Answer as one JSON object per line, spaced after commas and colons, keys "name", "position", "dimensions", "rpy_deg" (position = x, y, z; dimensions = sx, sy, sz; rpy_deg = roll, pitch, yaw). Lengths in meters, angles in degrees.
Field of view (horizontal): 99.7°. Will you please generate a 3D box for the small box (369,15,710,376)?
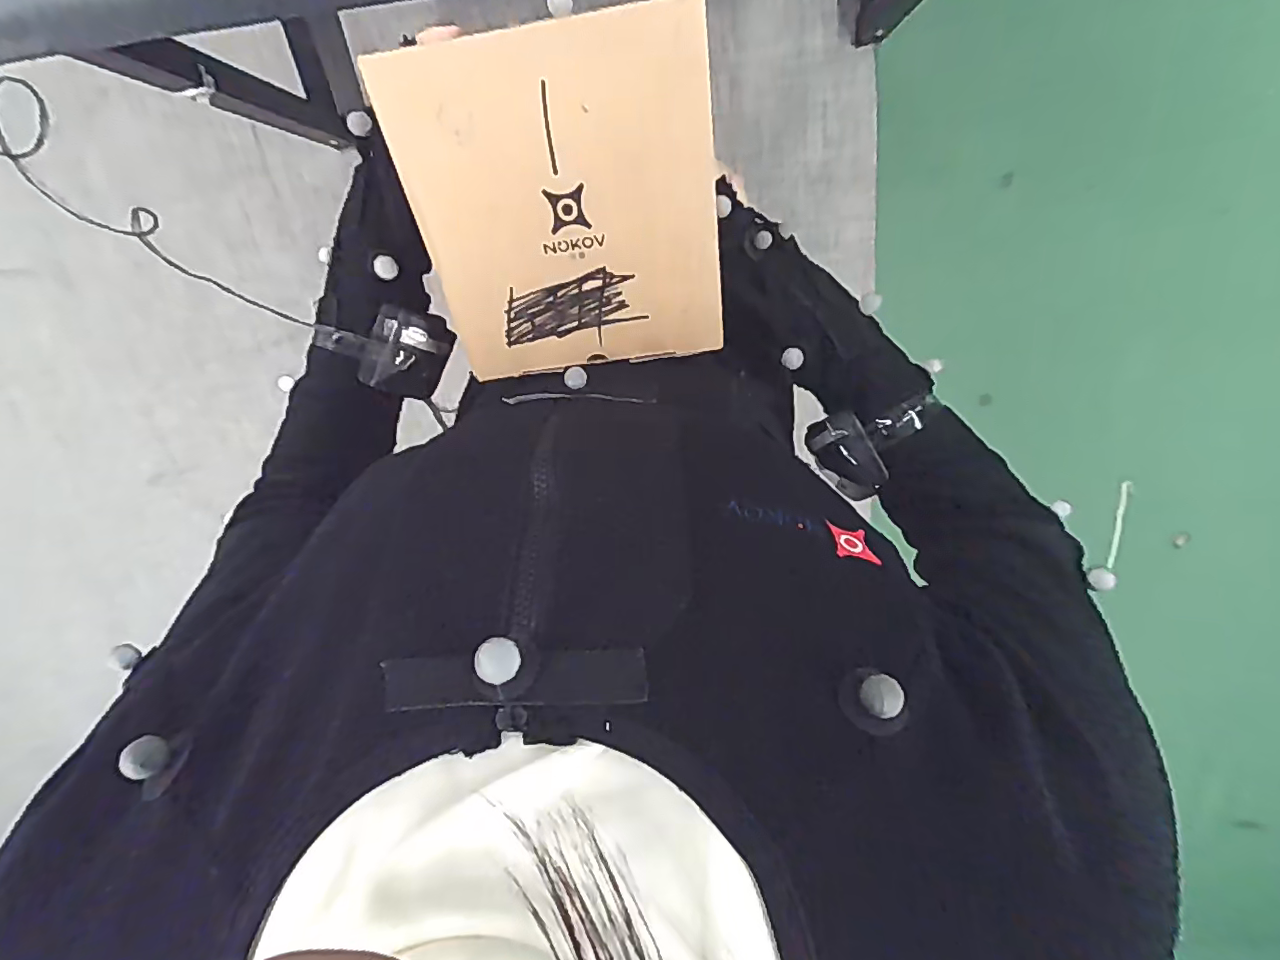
{"name": "small box", "position": [-0.042, -0.194, 0.371], "dimensions": [0.168, 0.176, 0.179], "rpy_deg": [-6, 129, 4]}
